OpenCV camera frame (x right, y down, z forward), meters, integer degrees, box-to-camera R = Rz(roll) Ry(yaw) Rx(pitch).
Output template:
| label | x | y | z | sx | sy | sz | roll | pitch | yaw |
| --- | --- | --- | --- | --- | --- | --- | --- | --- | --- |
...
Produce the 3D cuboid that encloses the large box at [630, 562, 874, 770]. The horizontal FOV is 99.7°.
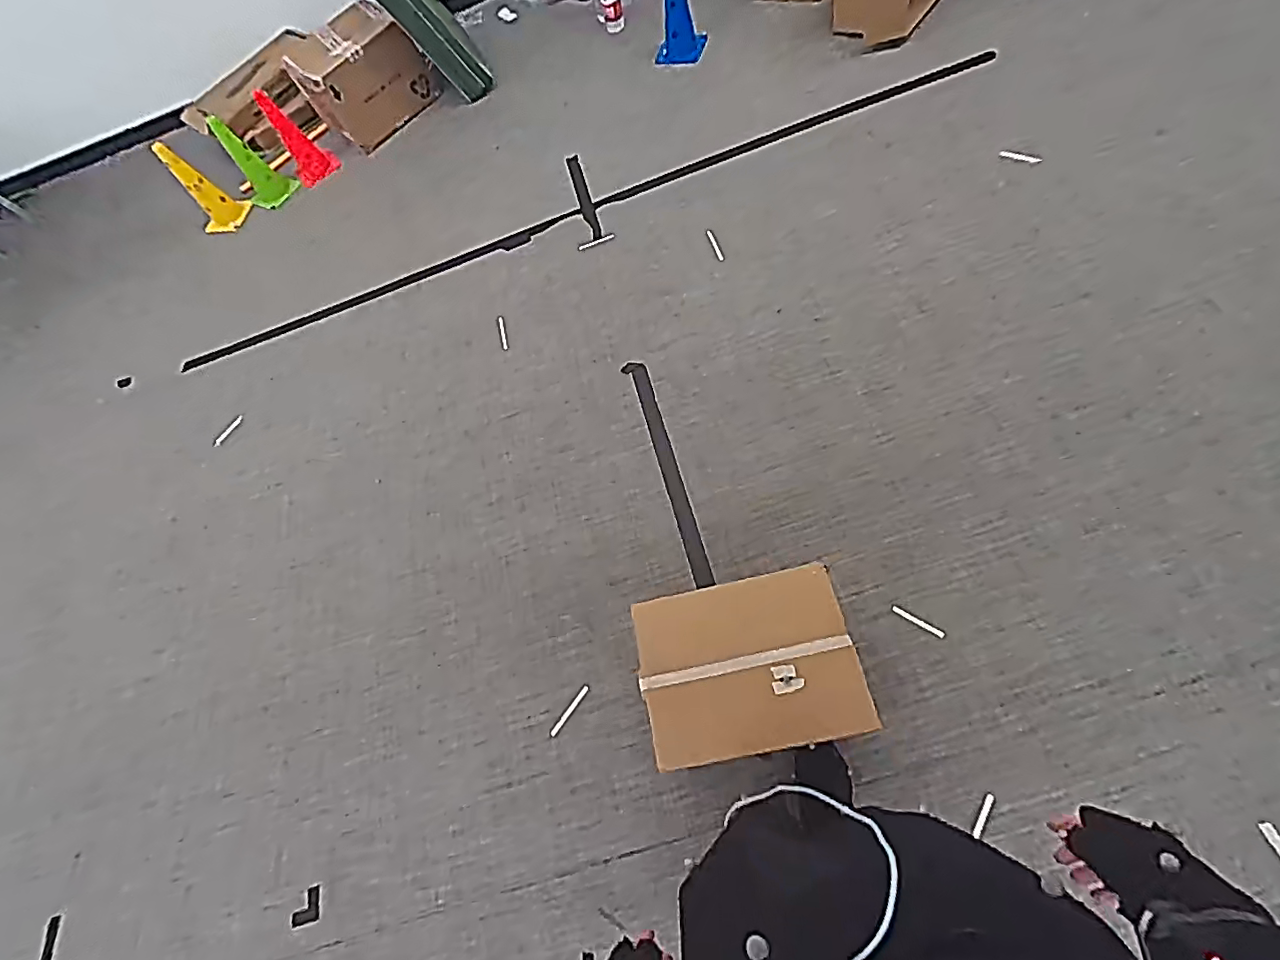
| label | x | y | z | sx | sy | sz | roll | pitch | yaw |
| --- | --- | --- | --- | --- | --- | --- | --- | --- | --- |
| large box | 0.222 | 0.407 | 1.162 | 0.408 | 0.320 | 0.320 | -14 | 64 | 5 |
